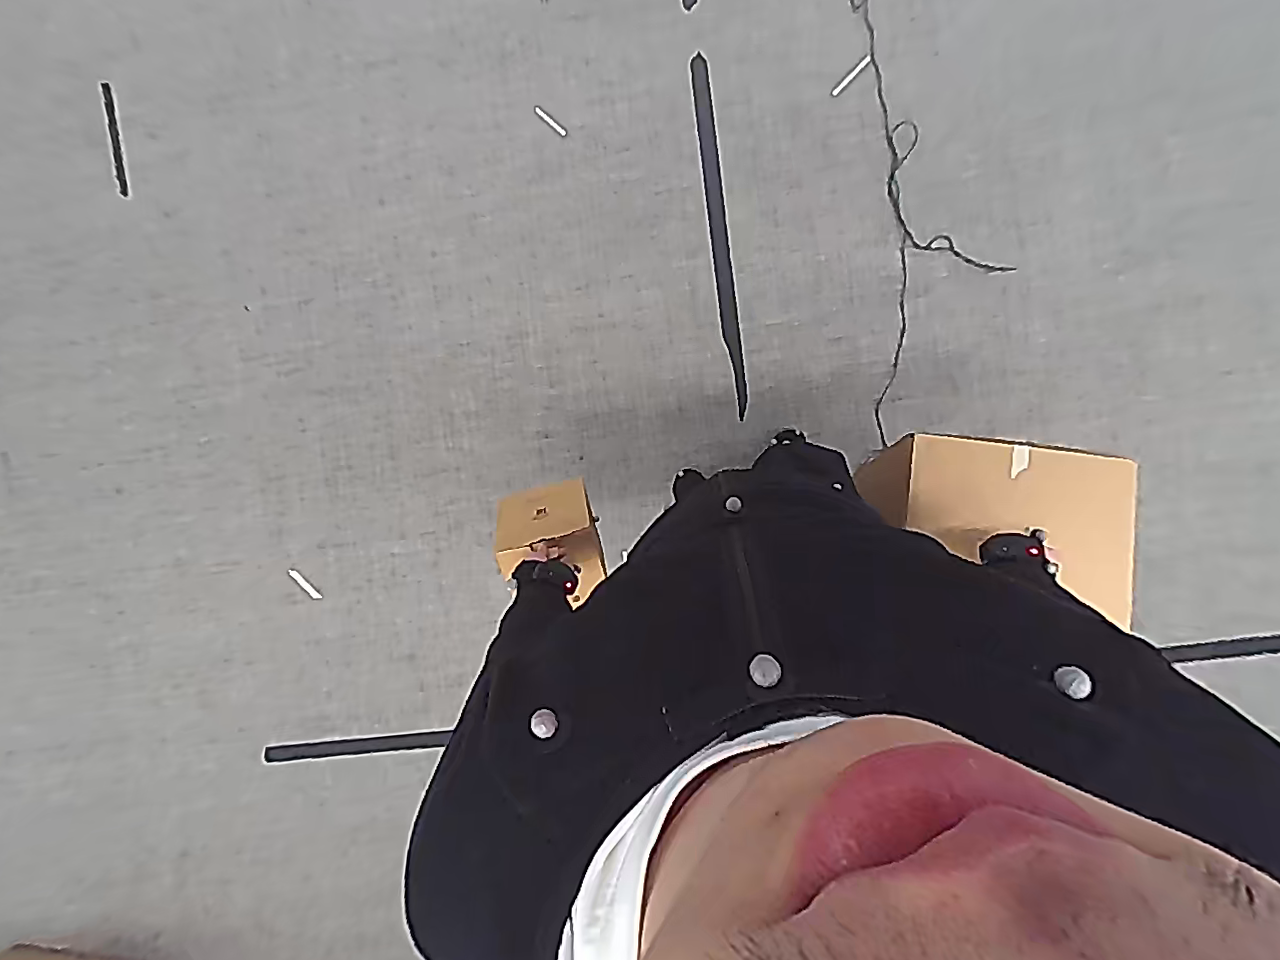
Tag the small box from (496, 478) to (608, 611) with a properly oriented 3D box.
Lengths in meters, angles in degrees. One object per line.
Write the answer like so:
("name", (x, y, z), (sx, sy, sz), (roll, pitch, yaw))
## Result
("small box", (-0.162, 0.125, 1.016), (0.168, 0.179, 0.176), (-14, 121, -4))
